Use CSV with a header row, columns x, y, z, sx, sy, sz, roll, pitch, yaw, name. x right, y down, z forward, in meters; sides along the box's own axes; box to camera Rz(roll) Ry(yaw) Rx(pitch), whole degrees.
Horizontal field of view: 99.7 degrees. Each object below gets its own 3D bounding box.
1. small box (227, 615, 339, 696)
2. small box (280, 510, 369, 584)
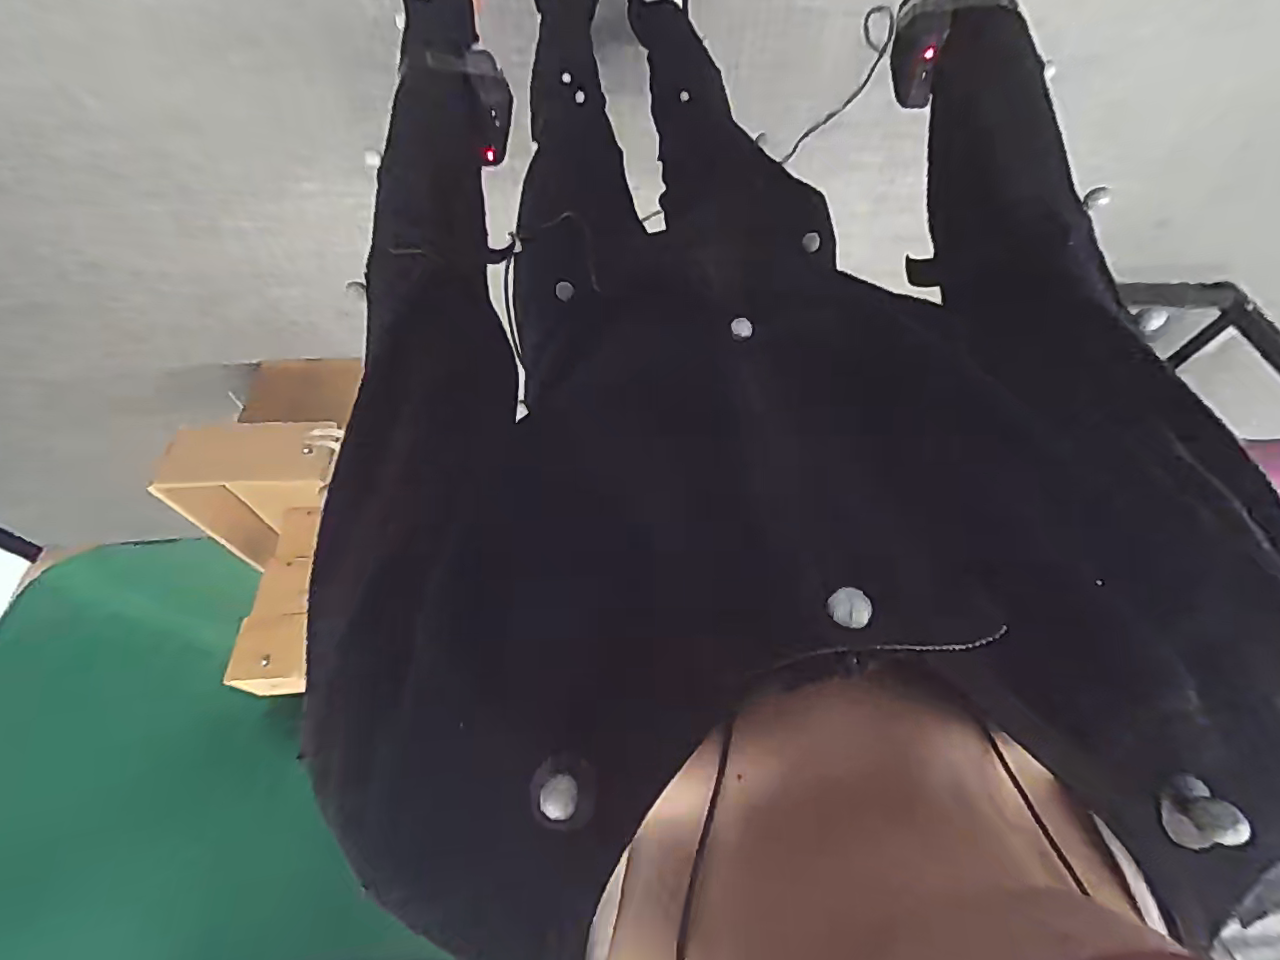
x,y,z,sx,sy,sz,roll,pitch,yaw,name
-0.947,0.471,1.452,0.179,0.176,0.168,-3,147,-3,small box
-0.945,0.201,1.637,0.168,0.176,0.179,-1,146,-5,small box
